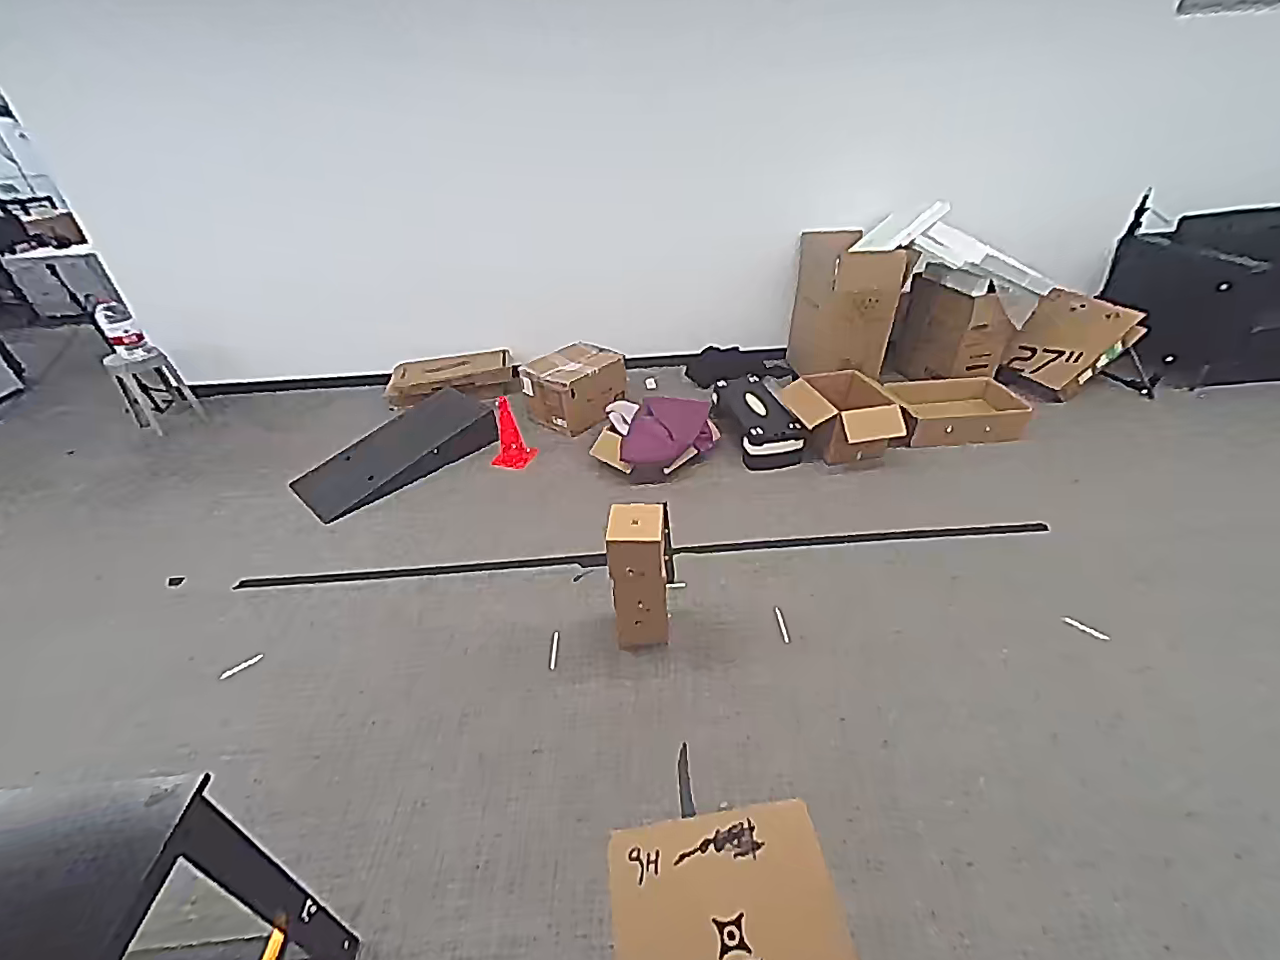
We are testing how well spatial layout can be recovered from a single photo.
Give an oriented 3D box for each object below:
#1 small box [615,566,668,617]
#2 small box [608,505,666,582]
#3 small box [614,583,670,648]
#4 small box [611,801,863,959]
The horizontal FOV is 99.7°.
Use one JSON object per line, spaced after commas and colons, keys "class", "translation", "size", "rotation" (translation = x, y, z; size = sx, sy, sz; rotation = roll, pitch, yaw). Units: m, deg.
{"class": "small box", "translation": [0.003, 0.326, 1.778], "size": [0.168, 0.176, 0.179], "rotation": [-4, 35, 0]}
{"class": "small box", "translation": [-0.005, 0.196, 1.680], "size": [0.168, 0.176, 0.179], "rotation": [-1, 36, 5]}
{"class": "small box", "translation": [0.006, 0.461, 1.872], "size": [0.179, 0.176, 0.168], "rotation": [-5, 35, -4]}
{"class": "small box", "translation": [0.076, 0.383, 0.417], "size": [0.168, 0.176, 0.179], "rotation": [-10, 41, -2]}
